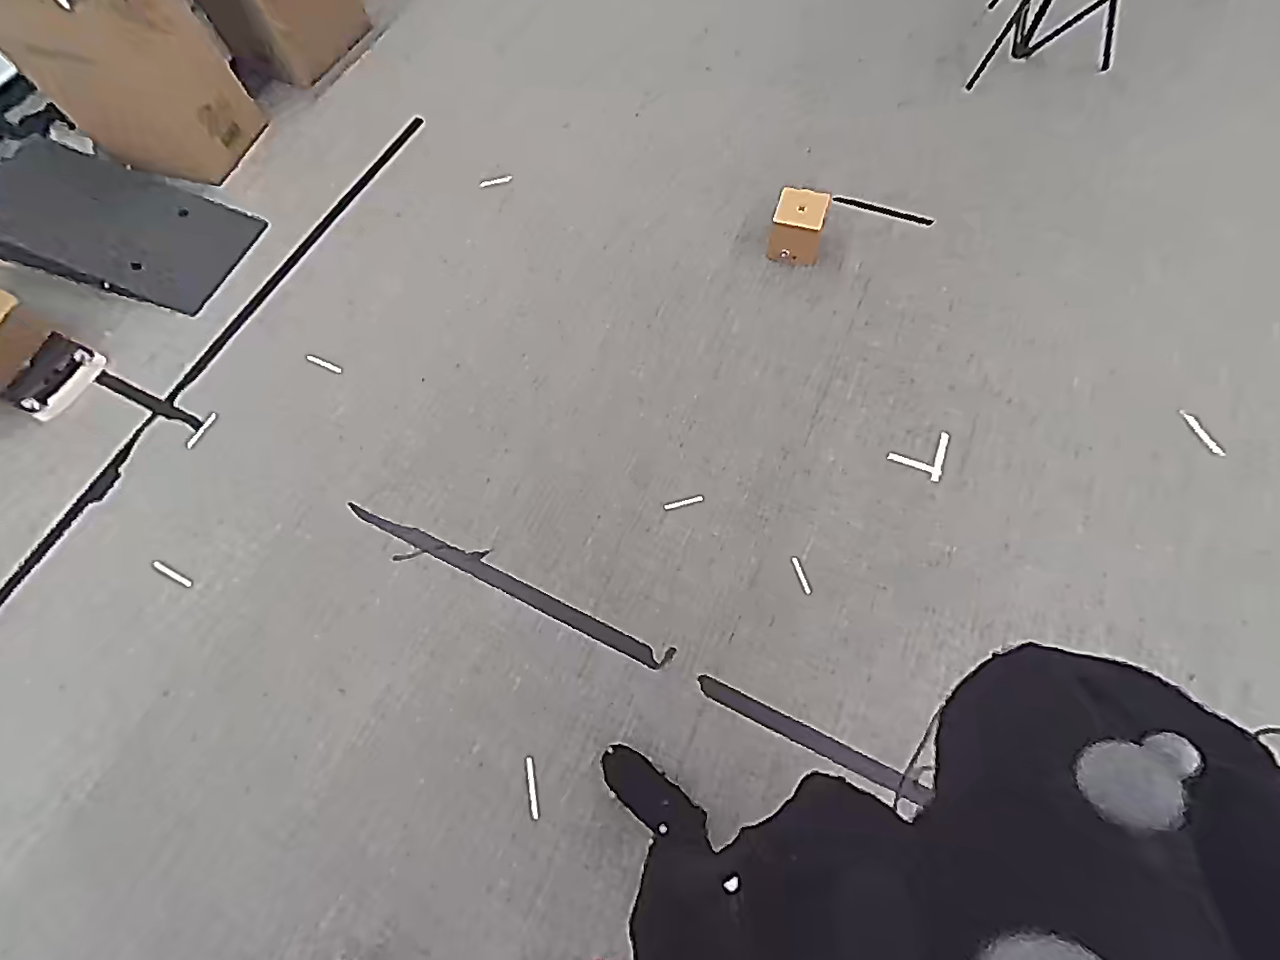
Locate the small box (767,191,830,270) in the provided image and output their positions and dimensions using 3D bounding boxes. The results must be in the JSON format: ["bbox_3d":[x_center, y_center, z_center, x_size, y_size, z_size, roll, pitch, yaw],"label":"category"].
[{"bbox_3d":[0.561,-0.890,1.936,0.168,0.176,0.179,16,69,11],"label":"small box"}]
